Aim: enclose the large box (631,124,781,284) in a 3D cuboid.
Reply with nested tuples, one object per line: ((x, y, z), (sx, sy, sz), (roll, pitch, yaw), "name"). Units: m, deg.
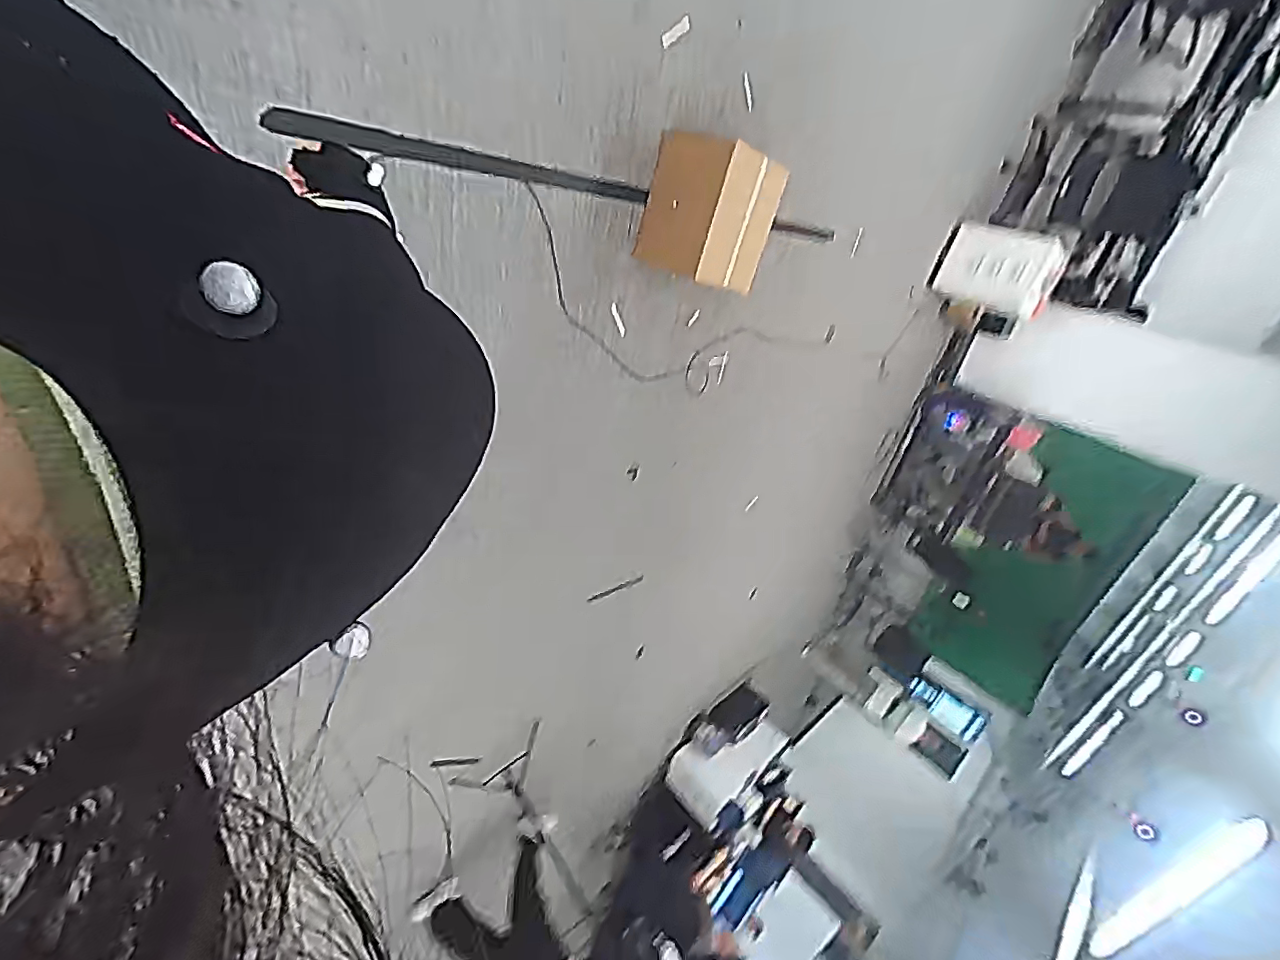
((0.215, -0.930, 1.845), (0.320, 0.320, 0.408), (-9, 124, -45), "large box")
